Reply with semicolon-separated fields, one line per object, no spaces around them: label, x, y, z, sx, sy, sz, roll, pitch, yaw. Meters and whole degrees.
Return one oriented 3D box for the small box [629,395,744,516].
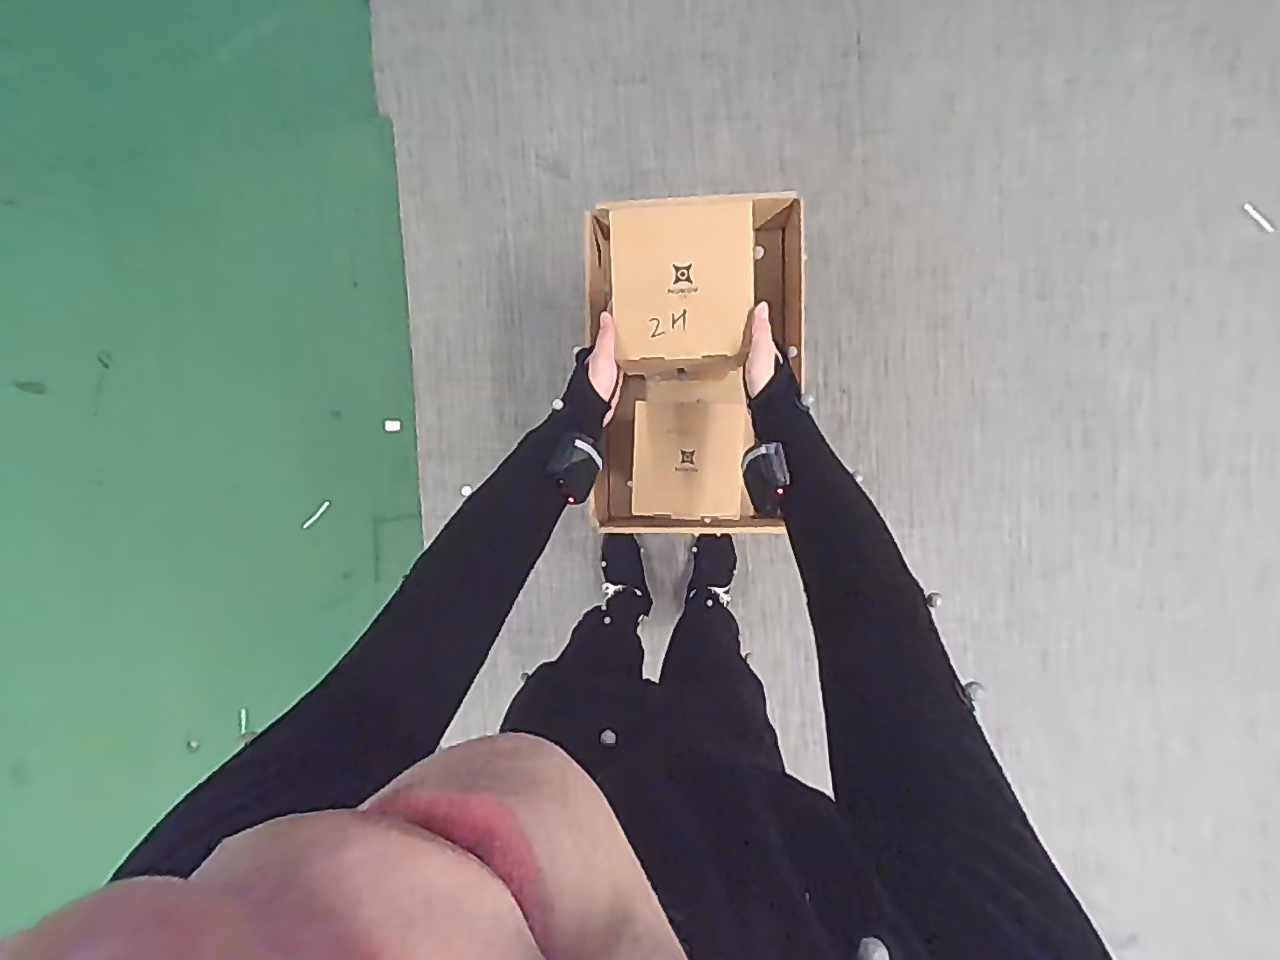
small box;0.075;-0.041;0.888;0.168;0.176;0.179;3;93;4

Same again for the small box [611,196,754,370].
small box;0.052;-0.242;0.701;0.168;0.176;0.179;-1;96;4
